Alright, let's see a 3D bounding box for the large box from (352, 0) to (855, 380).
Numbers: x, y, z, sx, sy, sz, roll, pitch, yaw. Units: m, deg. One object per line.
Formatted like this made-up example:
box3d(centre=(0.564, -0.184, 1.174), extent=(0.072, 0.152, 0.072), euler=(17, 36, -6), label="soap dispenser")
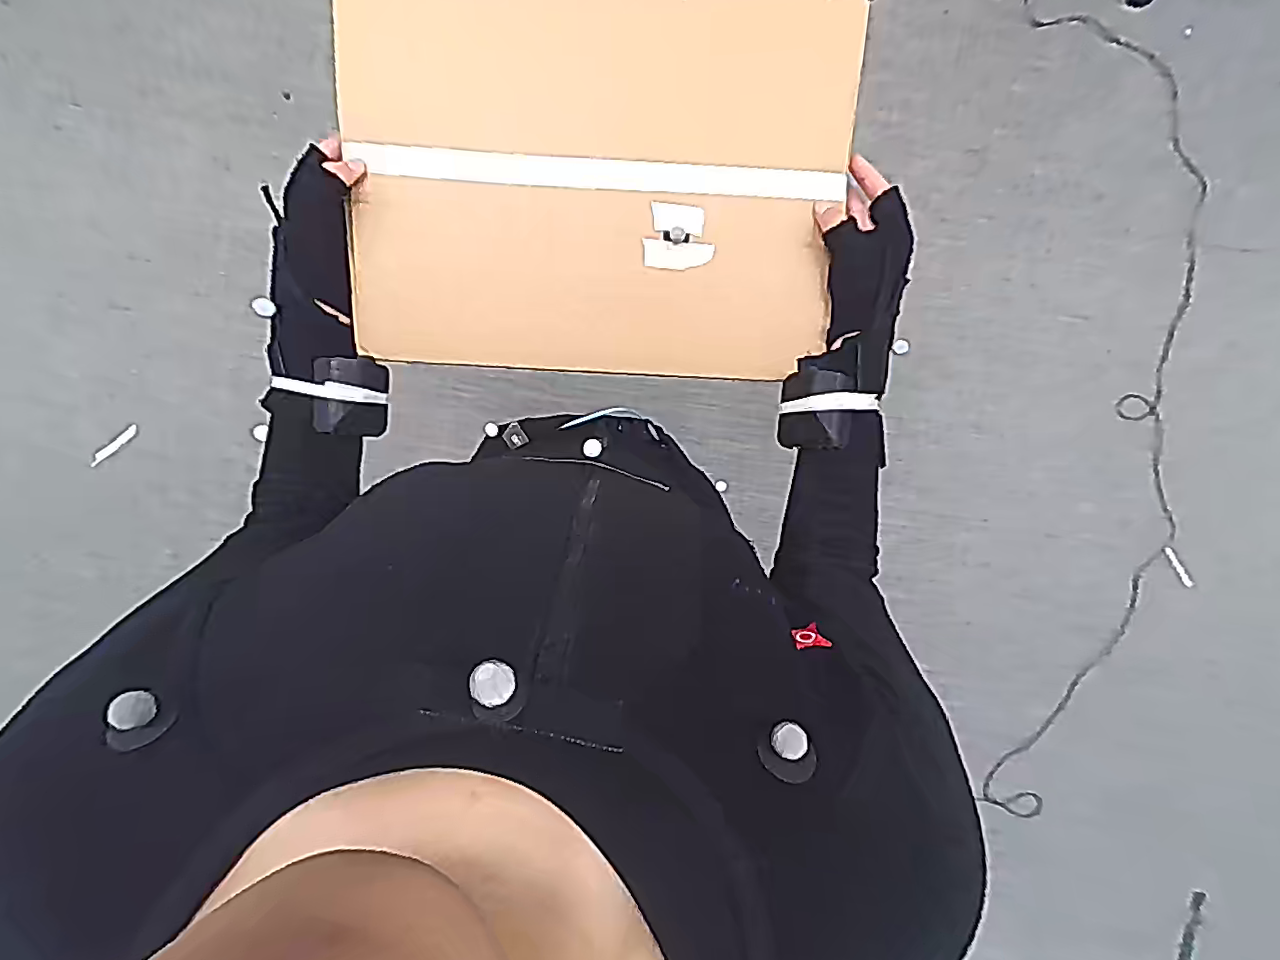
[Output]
box3d(centre=(-0.038, -0.279, 0.599), extent=(0.408, 0.320, 0.320), euler=(2, 104, -3), label="large box")
